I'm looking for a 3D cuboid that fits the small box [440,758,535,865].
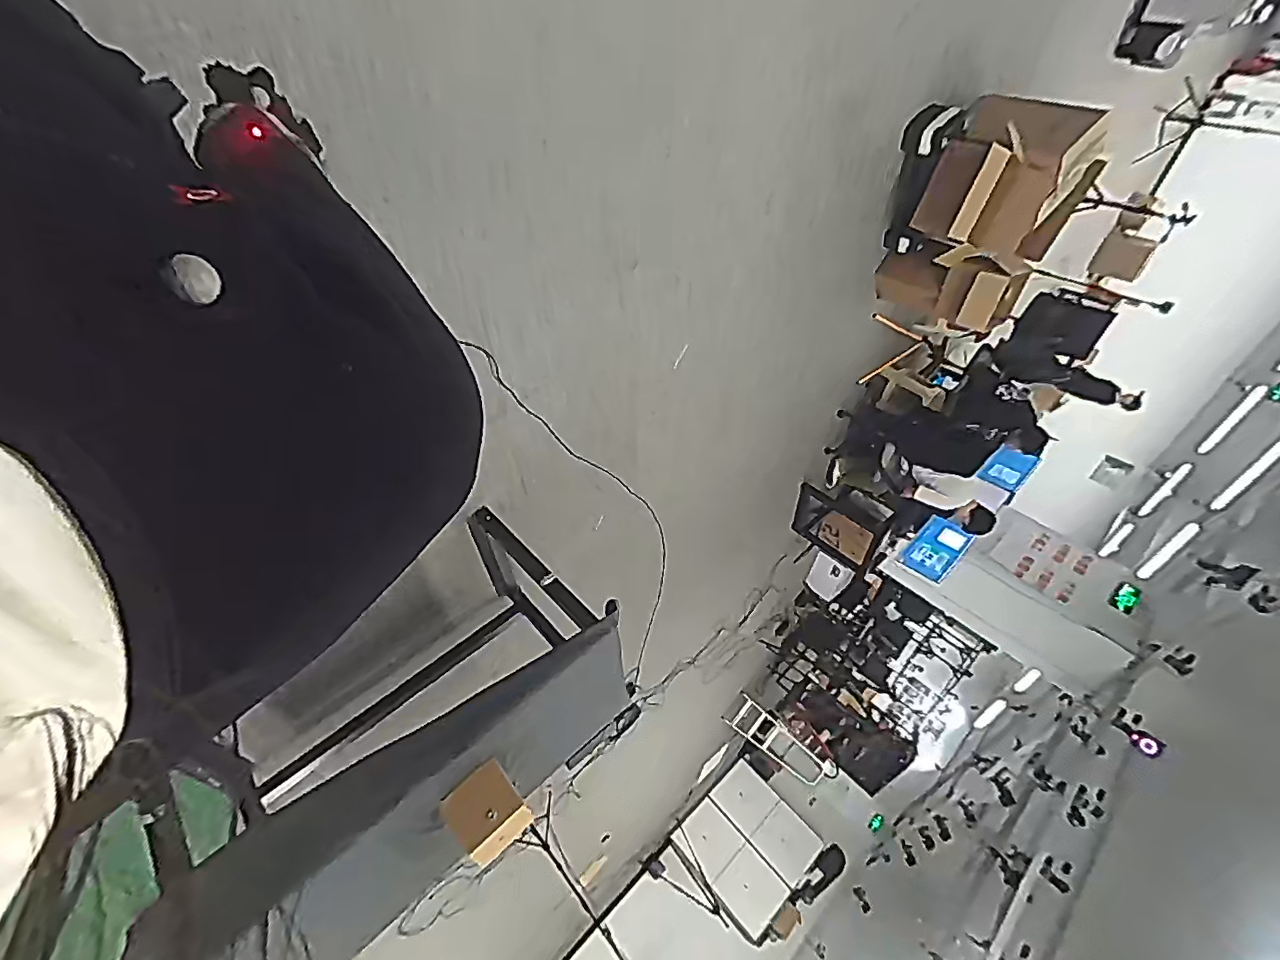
[{"bbox_3d":[-0.423,0.918,1.509,0.179,0.176,0.168,-34,143,-26],"label":"small box"}]
